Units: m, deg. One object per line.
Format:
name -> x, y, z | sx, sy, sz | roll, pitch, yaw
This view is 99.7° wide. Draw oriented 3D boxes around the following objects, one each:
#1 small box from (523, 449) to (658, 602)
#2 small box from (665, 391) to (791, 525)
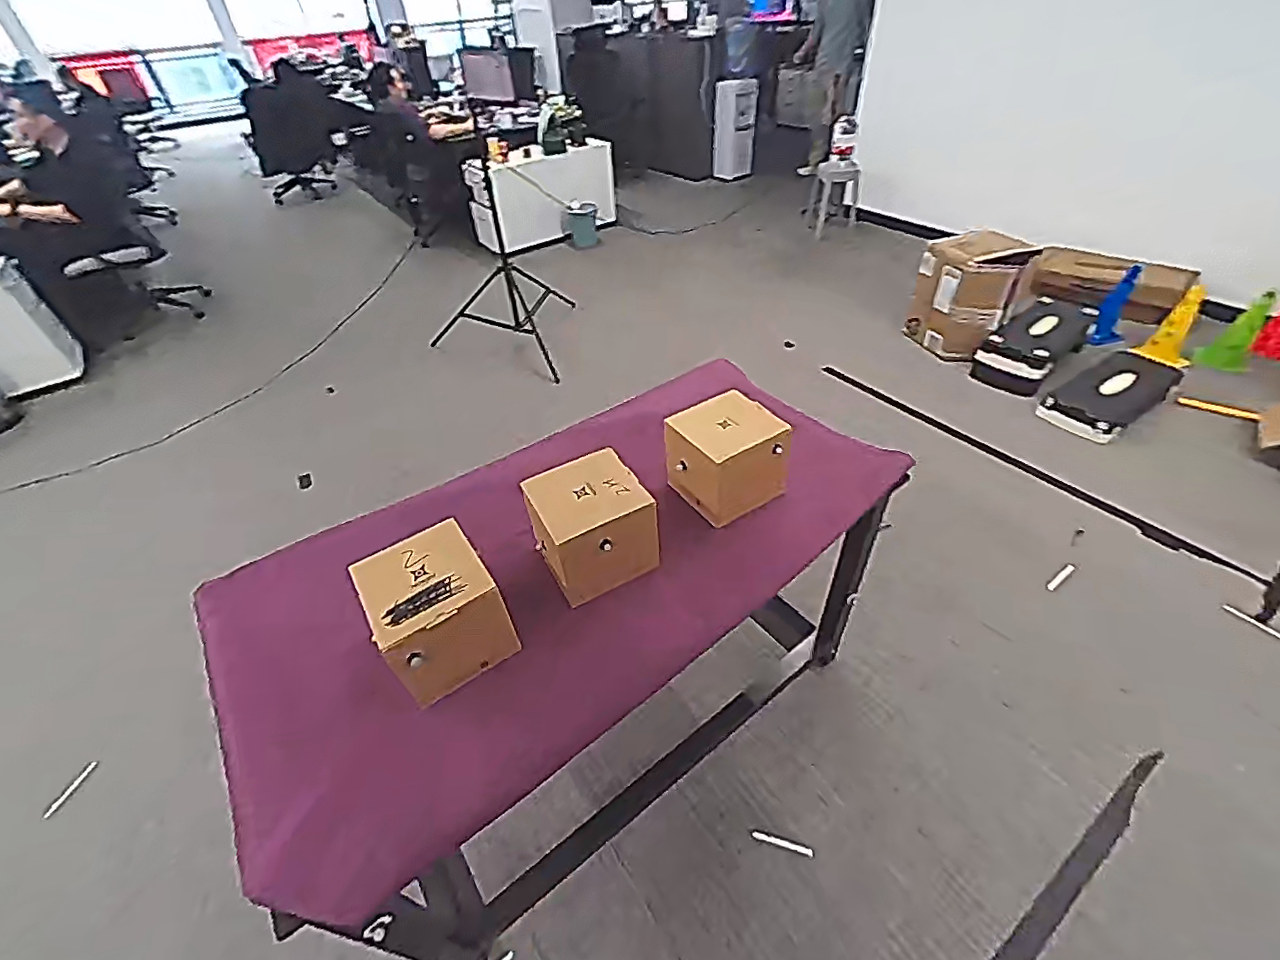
small box -> -0.081, 0.080, 0.940 | 0.179, 0.176, 0.168 | -22, 46, -19
small box -> 0.168, -0.042, 1.053 | 0.179, 0.176, 0.168 | -25, 45, -22
